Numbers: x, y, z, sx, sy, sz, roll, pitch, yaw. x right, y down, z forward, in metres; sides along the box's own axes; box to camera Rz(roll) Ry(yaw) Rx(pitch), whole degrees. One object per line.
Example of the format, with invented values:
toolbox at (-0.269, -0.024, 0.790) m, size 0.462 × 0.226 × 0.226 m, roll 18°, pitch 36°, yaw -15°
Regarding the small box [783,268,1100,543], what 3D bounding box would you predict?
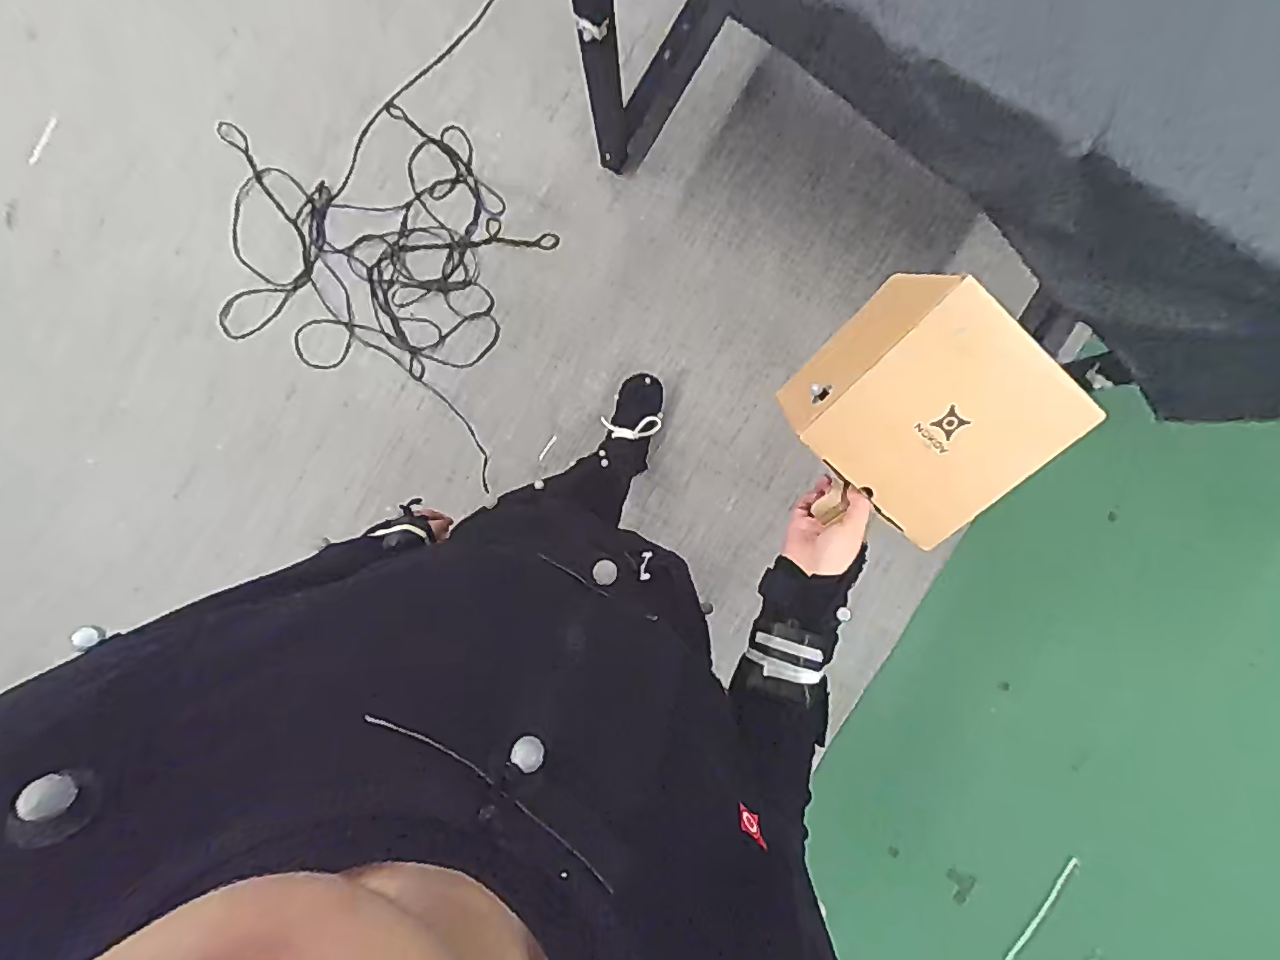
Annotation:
small box at (0.259, -0.082, 0.516) m, size 0.168 × 0.176 × 0.179 m, roll 39°, pitch 112°, yaw -10°
